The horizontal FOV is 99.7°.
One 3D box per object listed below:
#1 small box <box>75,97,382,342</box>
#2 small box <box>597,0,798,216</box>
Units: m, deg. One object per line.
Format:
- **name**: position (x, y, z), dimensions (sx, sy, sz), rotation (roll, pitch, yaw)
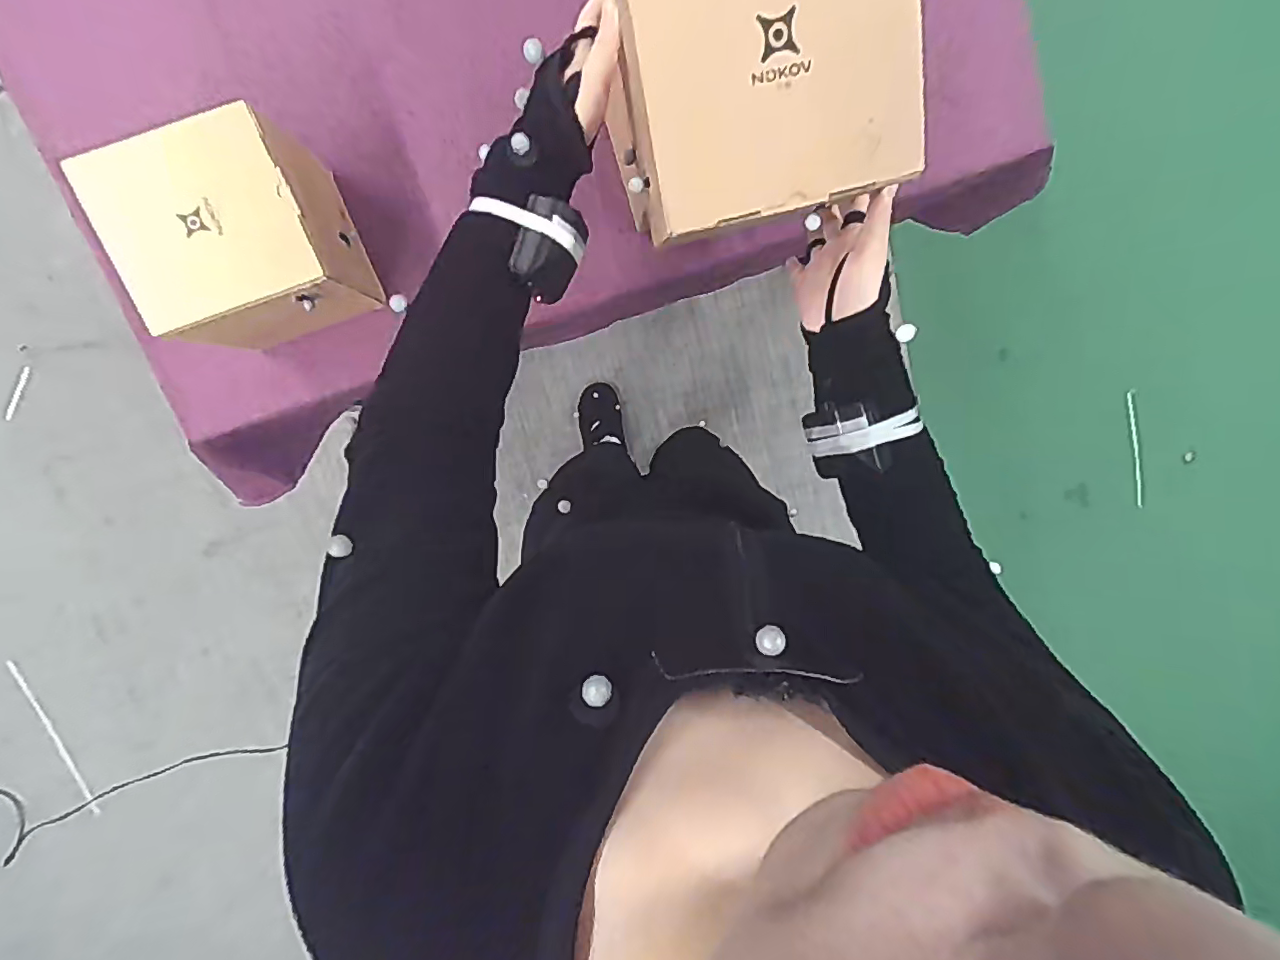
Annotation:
- **small box**: position (-0.422, -0.263, 0.592), dimensions (0.179, 0.176, 0.168), rotation (-21, 99, -3)
- **small box**: position (0.054, -0.422, 0.612), dimensions (0.168, 0.176, 0.179), rotation (-18, 99, -3)
